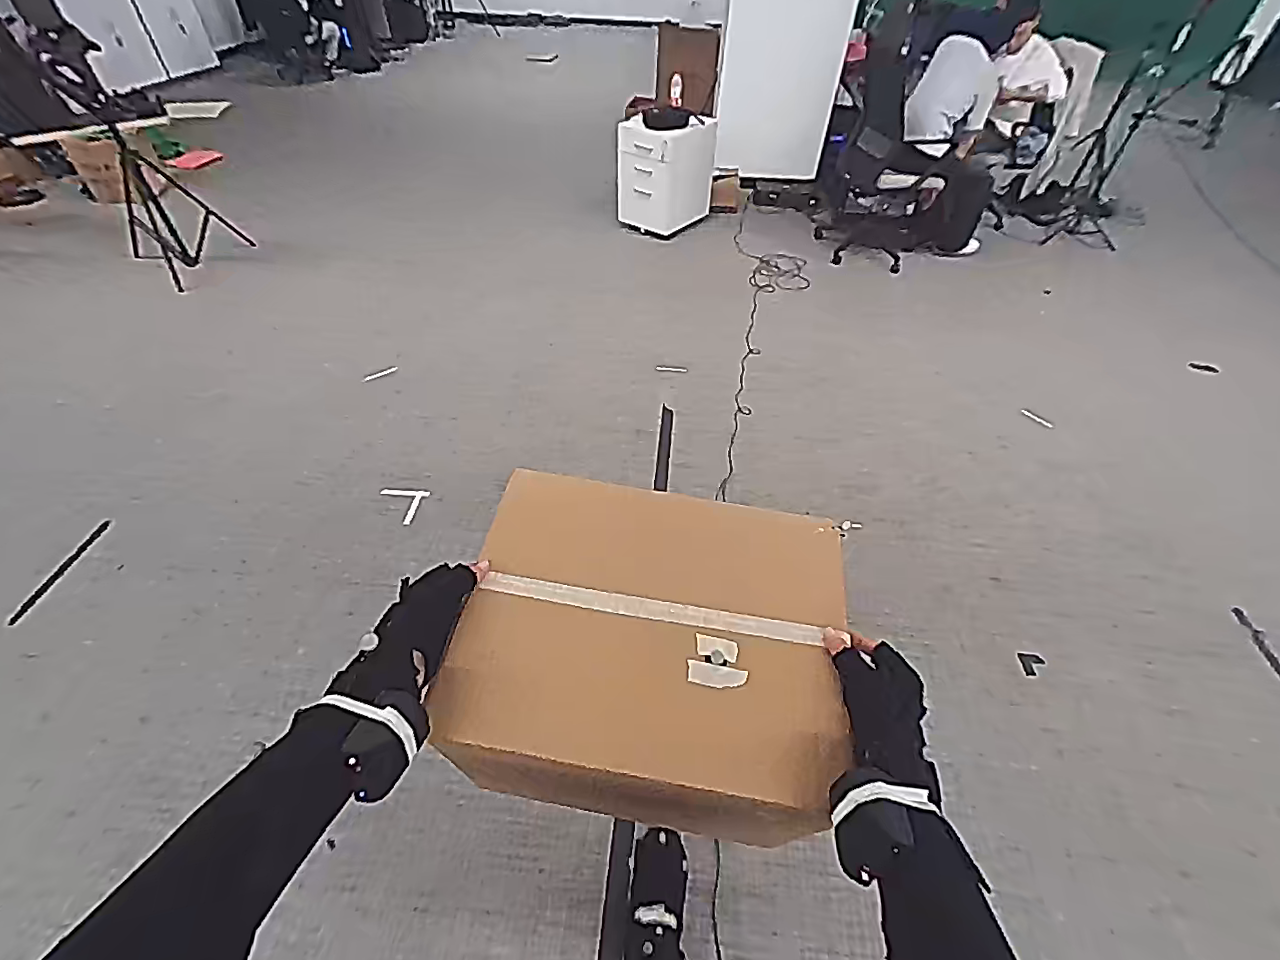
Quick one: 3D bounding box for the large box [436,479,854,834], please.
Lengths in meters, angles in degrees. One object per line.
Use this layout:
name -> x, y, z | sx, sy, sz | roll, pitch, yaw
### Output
large box -> 0.011, 0.235, 0.708 | 0.408, 0.320, 0.320 | 9, 52, 3
